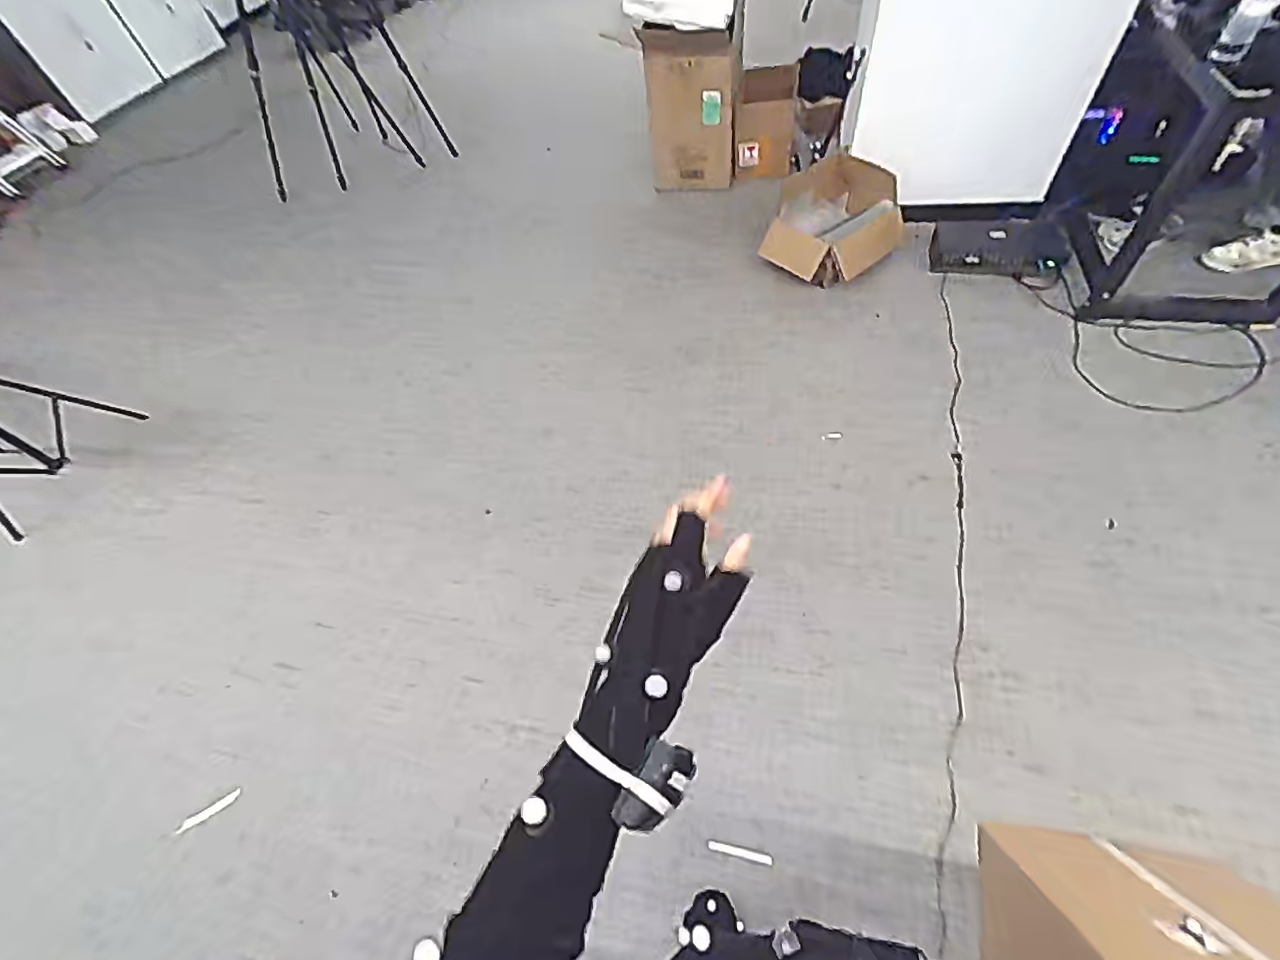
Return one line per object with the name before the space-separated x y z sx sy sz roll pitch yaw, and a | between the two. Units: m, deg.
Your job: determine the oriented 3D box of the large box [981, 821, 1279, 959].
large box | 0.613 0.650 0.586 0.320 0.408 0.320 2 81 14
